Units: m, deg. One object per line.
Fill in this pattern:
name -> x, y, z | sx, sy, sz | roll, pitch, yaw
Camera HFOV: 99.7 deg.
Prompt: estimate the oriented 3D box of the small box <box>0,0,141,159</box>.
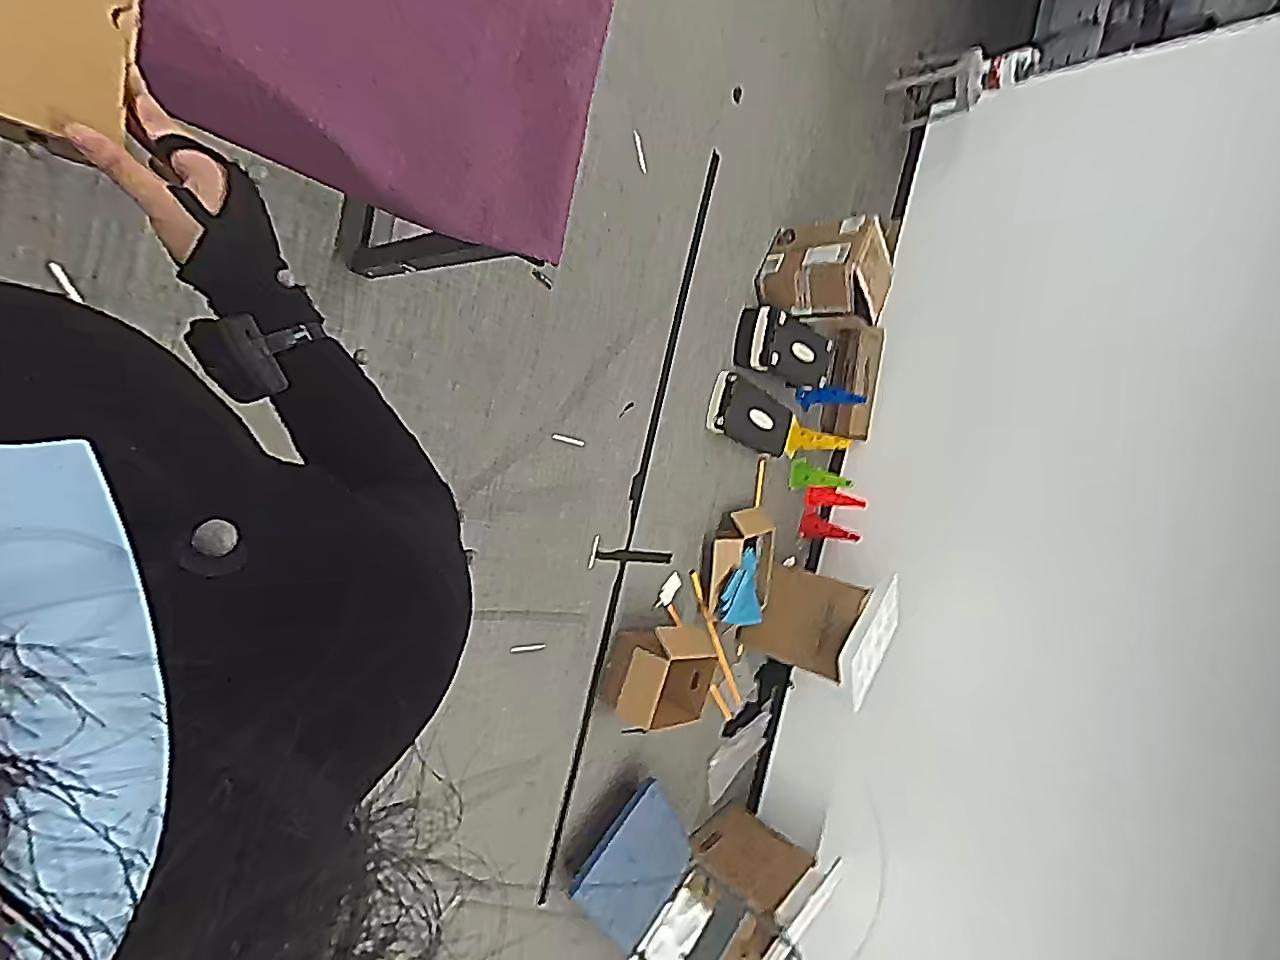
small box -> -0.438, -0.325, 0.339 | 0.179, 0.176, 0.168 | 3, 106, -48
